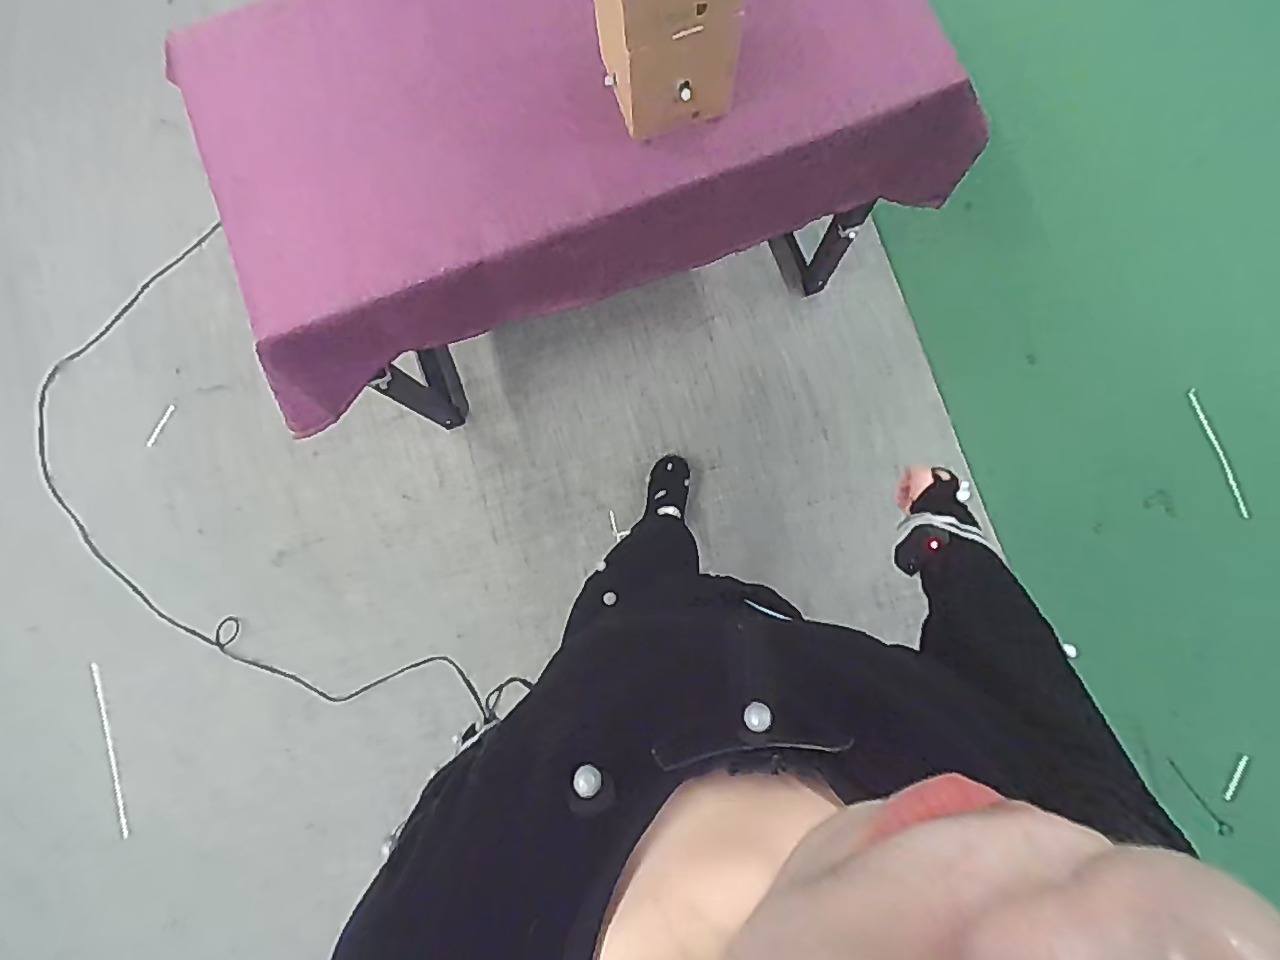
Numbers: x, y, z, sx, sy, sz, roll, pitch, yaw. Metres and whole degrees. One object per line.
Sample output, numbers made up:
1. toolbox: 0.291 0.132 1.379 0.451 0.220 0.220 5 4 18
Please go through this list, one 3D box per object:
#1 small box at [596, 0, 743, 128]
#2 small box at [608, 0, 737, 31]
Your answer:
1. small box: 0.038 -0.660 0.795 0.168 0.176 0.179 -19 83 0
2. small box: 0.028 -0.678 0.631 0.168 0.176 0.179 -19 83 -1
